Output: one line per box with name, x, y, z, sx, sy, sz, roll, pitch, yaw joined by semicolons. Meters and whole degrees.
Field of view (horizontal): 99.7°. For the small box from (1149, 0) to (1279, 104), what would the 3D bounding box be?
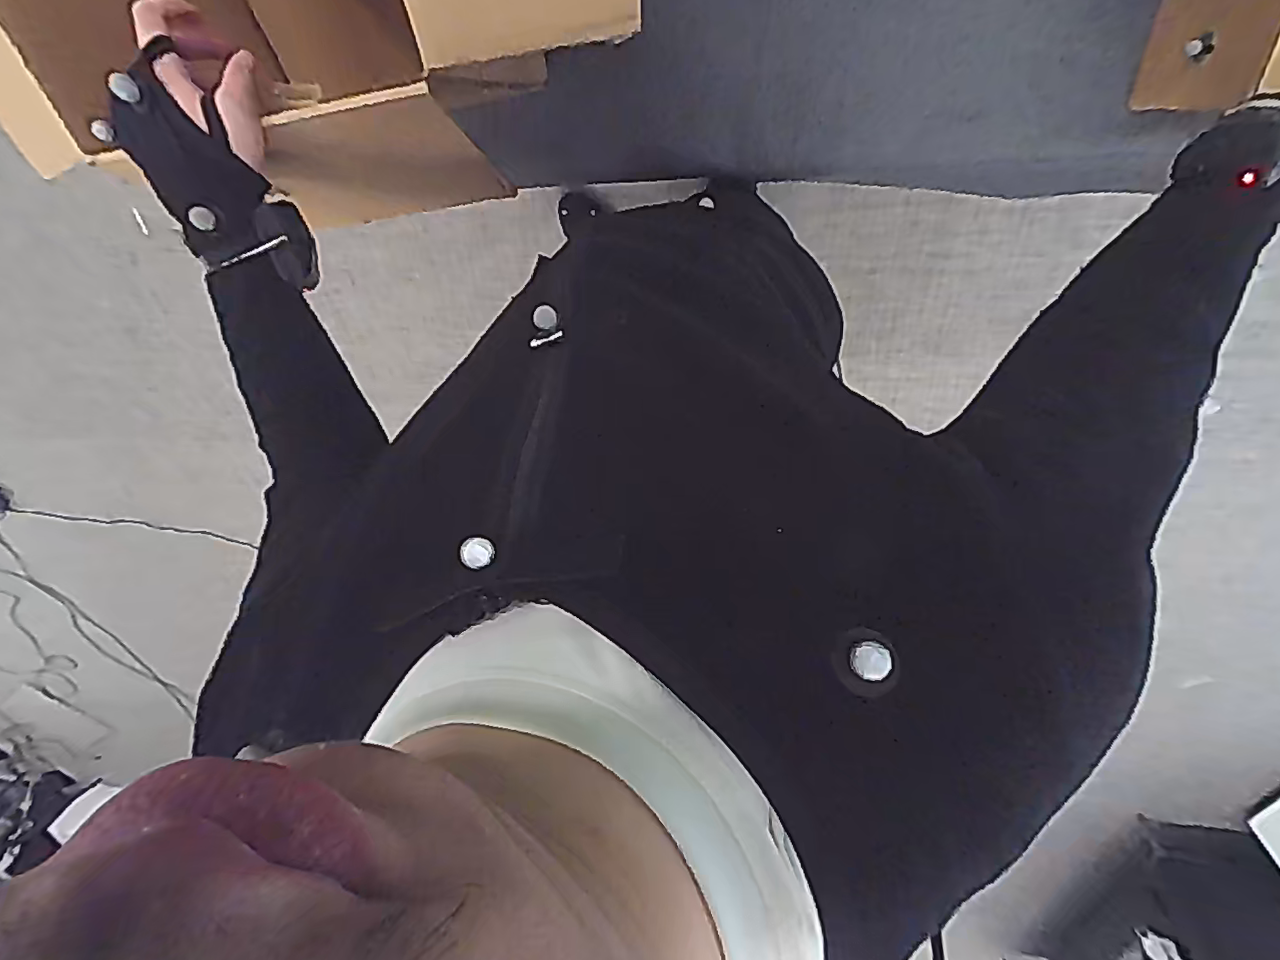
small box;0.563;-0.412;0.424;0.168;0.176;0.179;0;124;11
